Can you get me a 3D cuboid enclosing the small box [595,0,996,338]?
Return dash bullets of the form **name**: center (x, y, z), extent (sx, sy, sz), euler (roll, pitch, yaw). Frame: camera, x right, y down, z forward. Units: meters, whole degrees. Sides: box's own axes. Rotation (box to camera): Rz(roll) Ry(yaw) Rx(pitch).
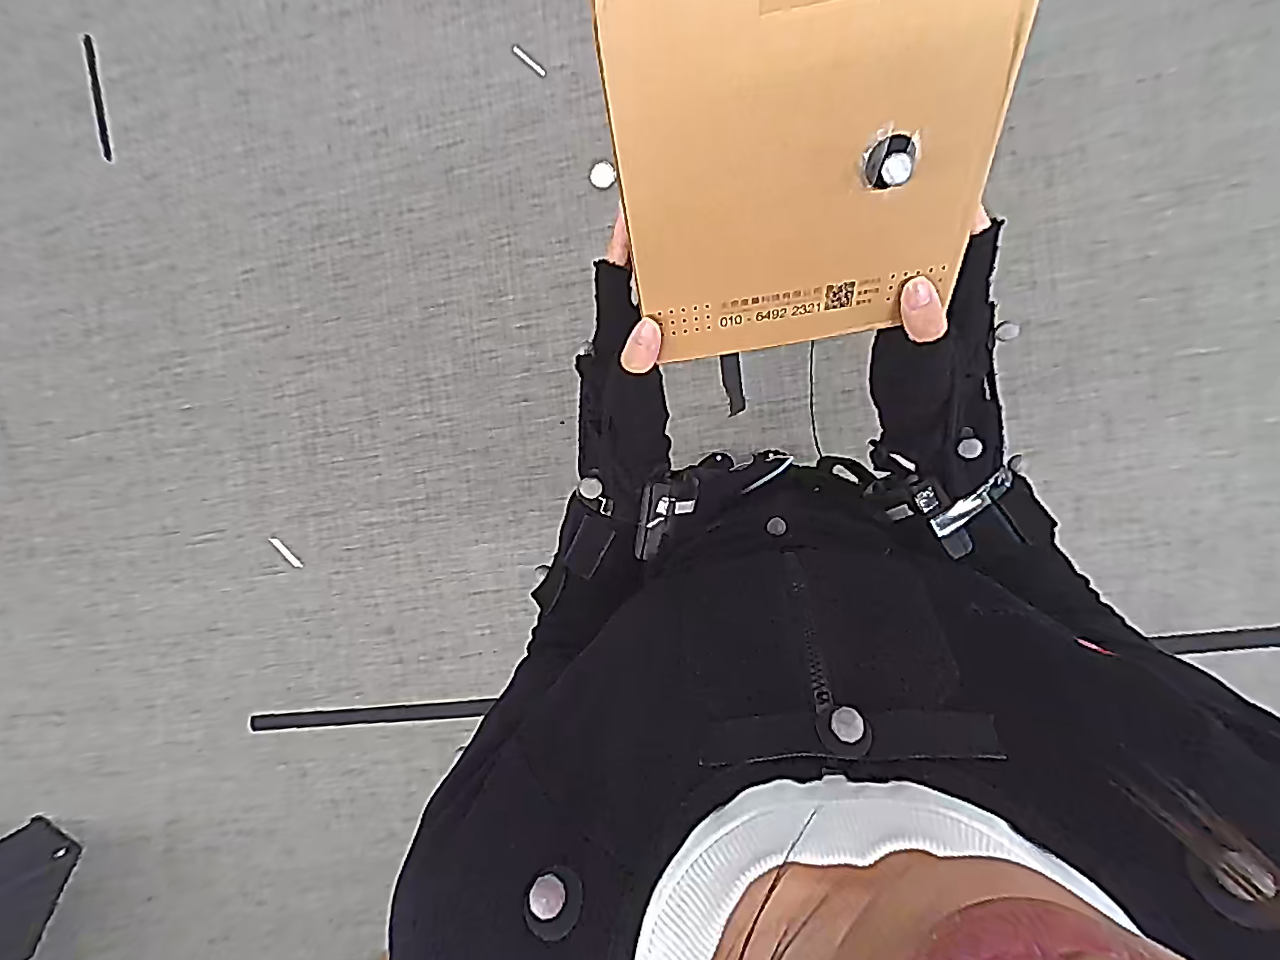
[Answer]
- **small box**: center (0.073, -0.198, 0.318), extent (0.168, 0.176, 0.179), euler (-7, 47, 5)
